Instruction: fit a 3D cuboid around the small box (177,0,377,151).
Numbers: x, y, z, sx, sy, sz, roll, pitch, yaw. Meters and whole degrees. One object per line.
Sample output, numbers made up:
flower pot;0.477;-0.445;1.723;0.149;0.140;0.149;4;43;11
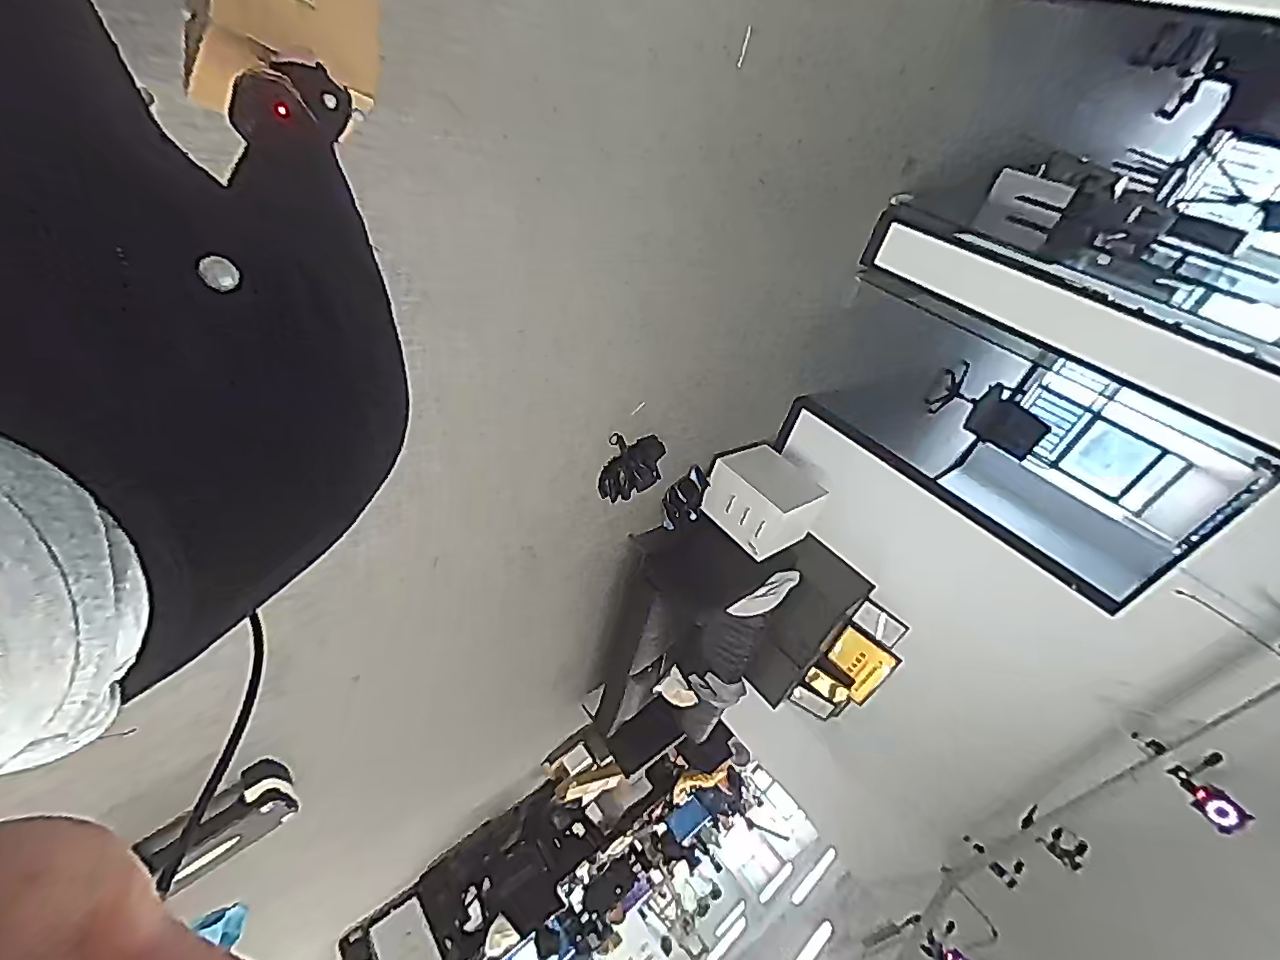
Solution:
small box;-0.434;-0.540;0.649;0.168;0.176;0.179;0;89;-49
